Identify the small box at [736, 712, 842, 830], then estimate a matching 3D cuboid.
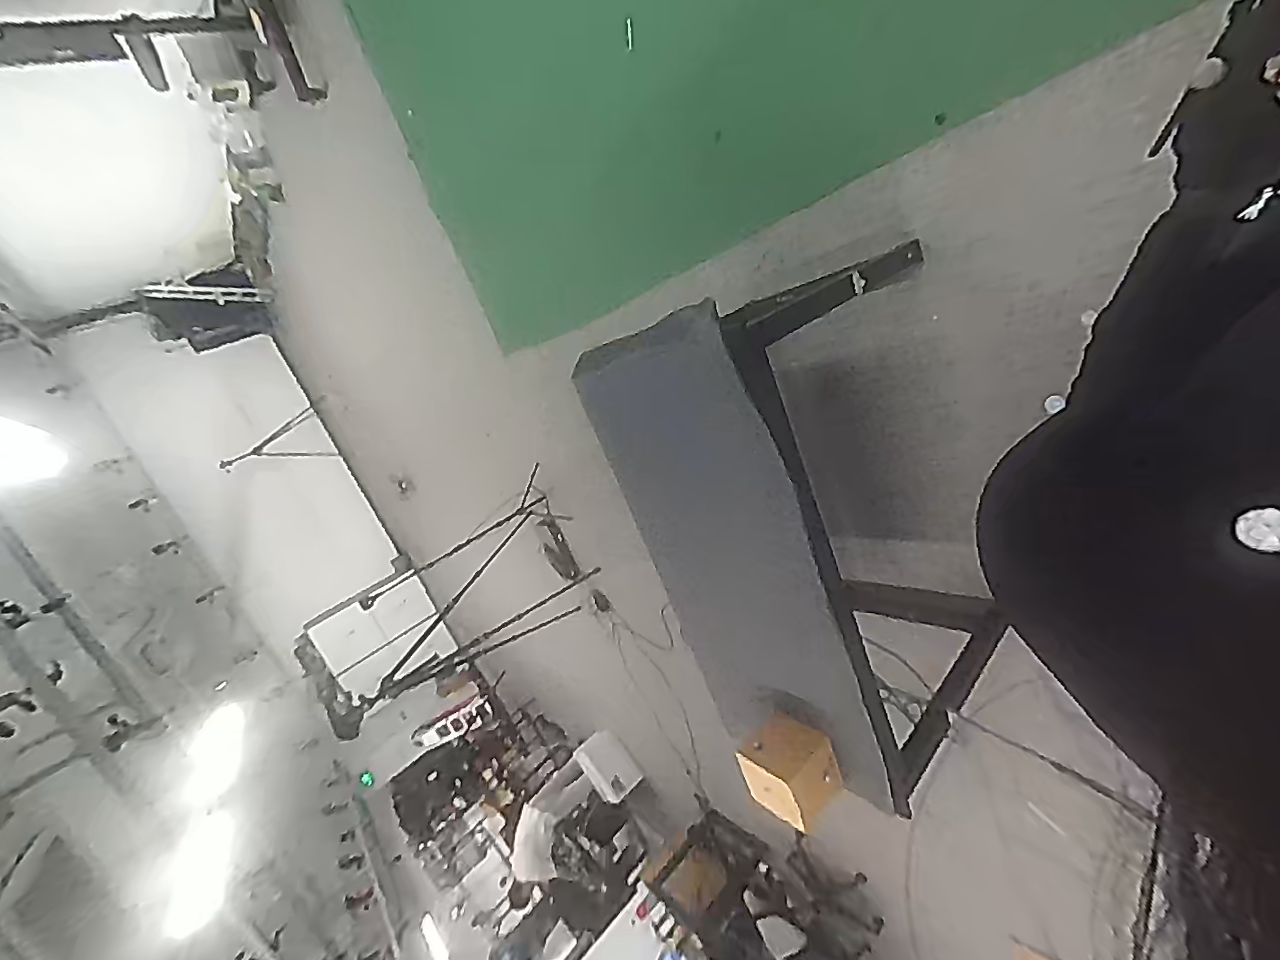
[{"bbox_3d":[0.380,0.727,1.379,0.179,0.176,0.168,3,119,54],"label":"small box"}]
